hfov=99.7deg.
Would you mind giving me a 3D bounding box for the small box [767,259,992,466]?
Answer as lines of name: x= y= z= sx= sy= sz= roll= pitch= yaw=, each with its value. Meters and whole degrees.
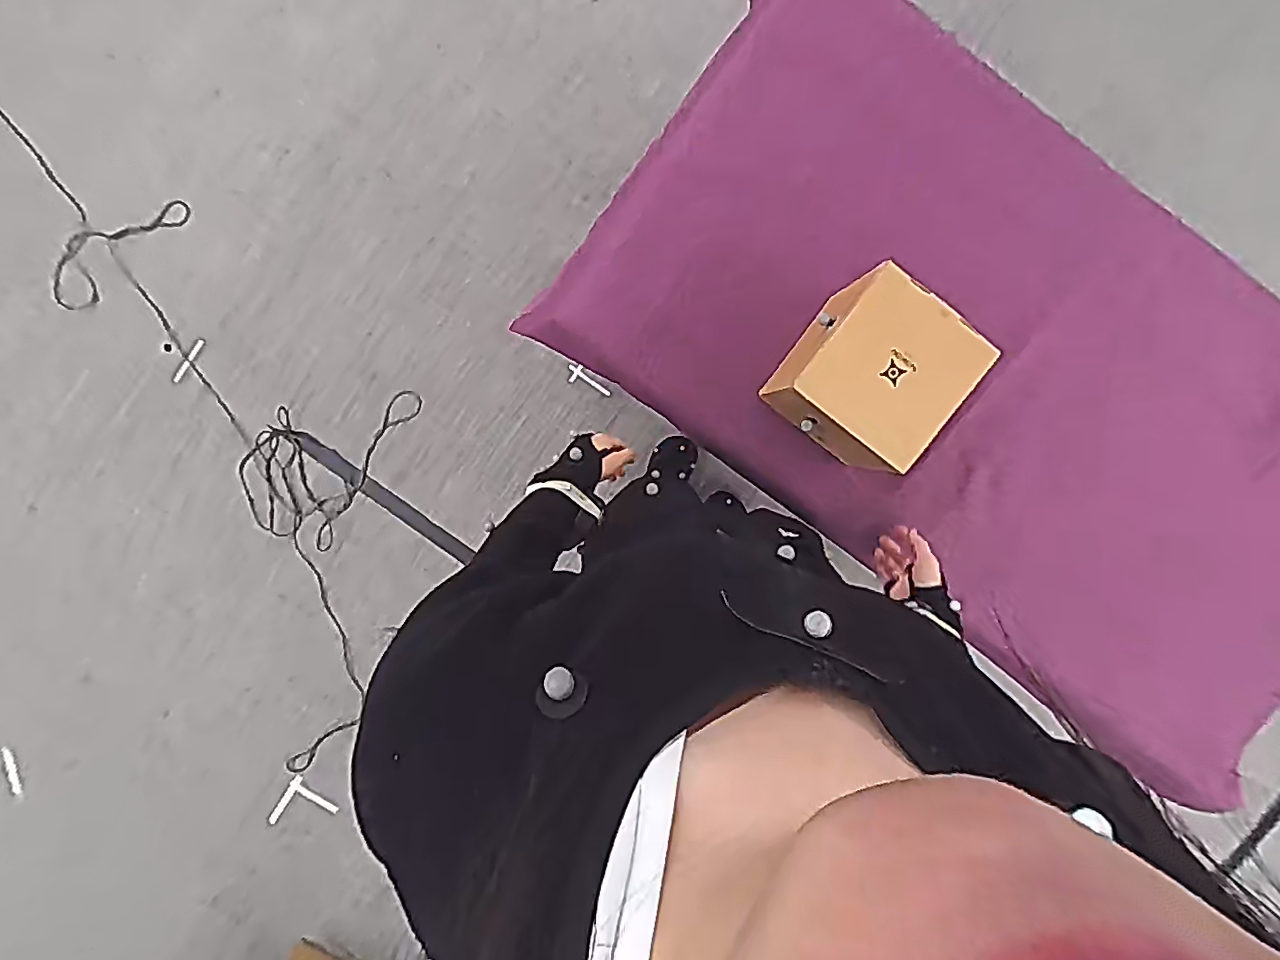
small box: x=0.282 y=-0.137 z=0.689 sx=0.168 sy=0.176 sz=0.179 roll=37 pitch=93 yaw=-4
